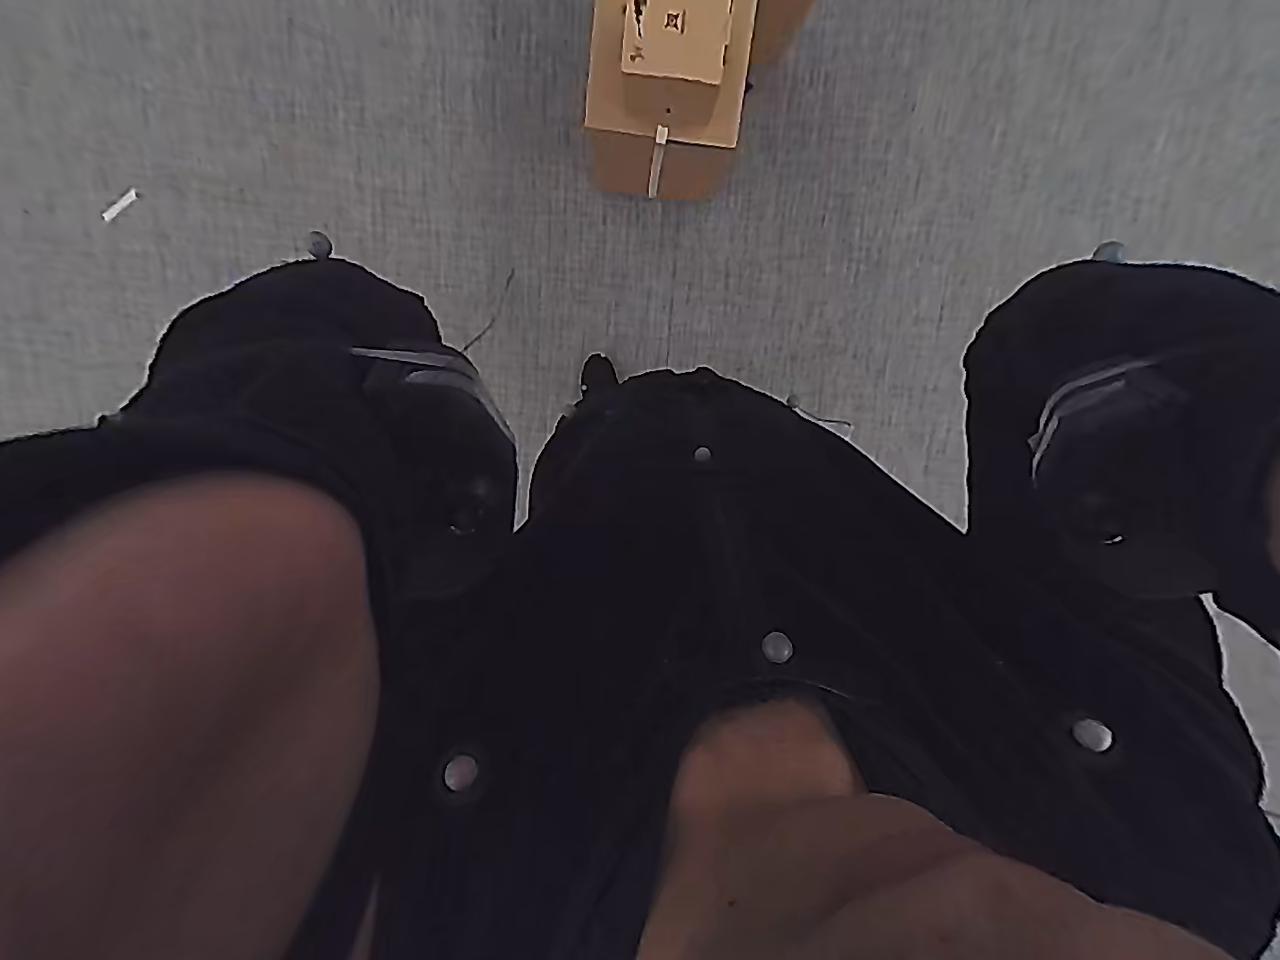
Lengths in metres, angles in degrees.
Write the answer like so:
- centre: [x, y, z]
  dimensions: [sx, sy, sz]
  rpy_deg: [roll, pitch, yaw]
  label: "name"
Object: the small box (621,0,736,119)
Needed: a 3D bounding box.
- centre: [0.063, -0.774, 0.965]
  dimensions: [0.179, 0.176, 0.168]
  rpy_deg: [7, 104, -2]
  label: "small box"
